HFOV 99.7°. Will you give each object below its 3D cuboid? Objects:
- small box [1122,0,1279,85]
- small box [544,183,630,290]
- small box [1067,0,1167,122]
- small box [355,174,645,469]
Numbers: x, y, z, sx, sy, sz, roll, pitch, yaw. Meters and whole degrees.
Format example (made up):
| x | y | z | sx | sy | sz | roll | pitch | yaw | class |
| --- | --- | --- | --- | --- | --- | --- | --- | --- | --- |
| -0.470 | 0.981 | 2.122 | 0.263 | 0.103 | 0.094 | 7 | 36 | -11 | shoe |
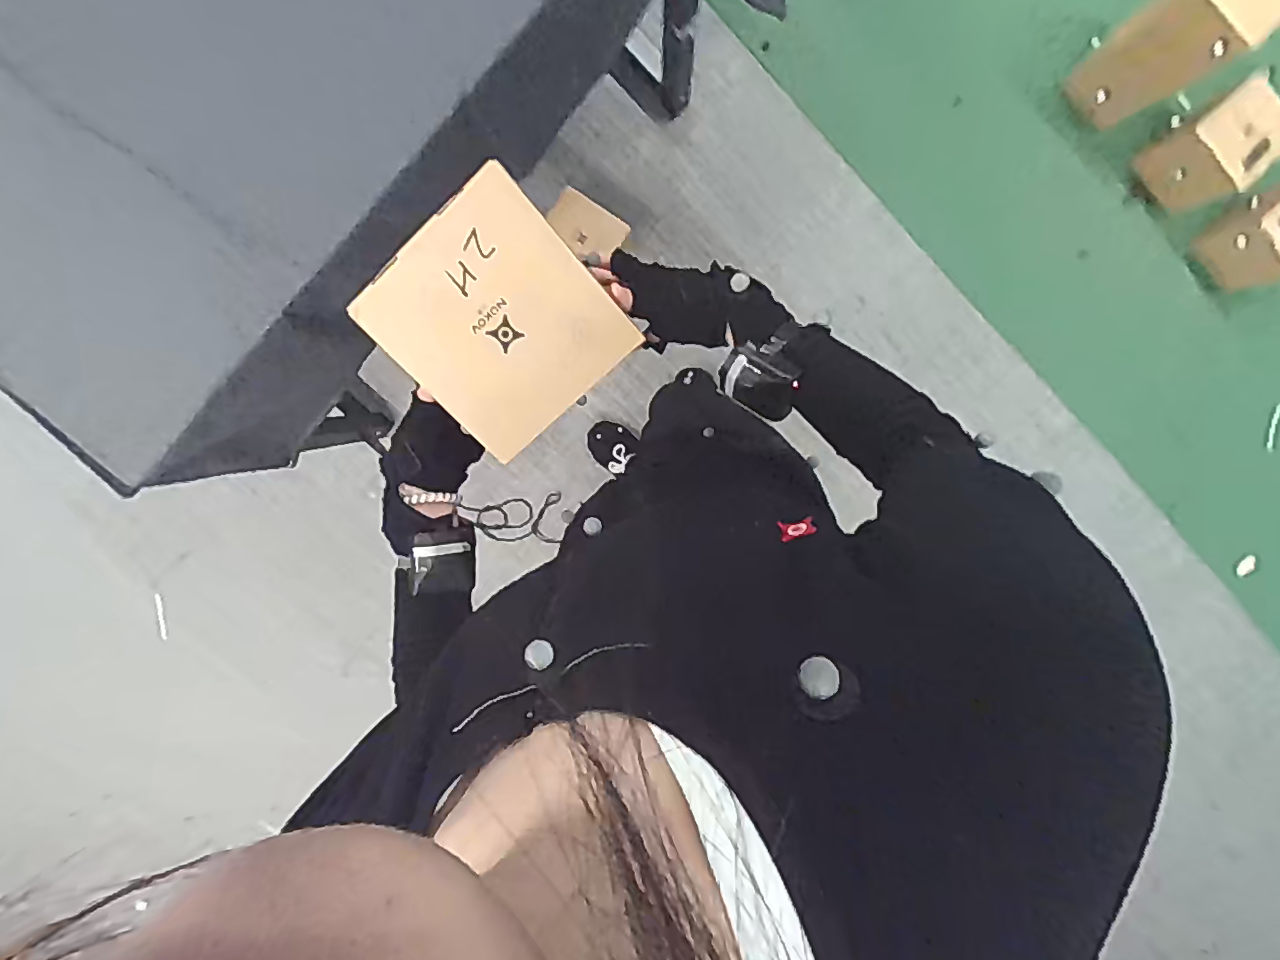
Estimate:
| x | y | z | sx | sy | sz | roll | pitch | yaw | class |
| --- | --- | --- | --- | --- | --- | --- | --- | --- | --- |
| 1.110 | -0.926 | 1.047 | 0.179 | 0.176 | 0.168 | 42 | 98 | -5 | small box |
| -0.139 | -0.567 | 1.305 | 0.179 | 0.176 | 0.168 | 32 | 99 | -3 | small box |
| 1.111 | -0.955 | 1.208 | 0.168 | 0.176 | 0.179 | 43 | 99 | -5 | small box |
| -0.114 | -0.145 | 0.511 | 0.168 | 0.176 | 0.179 | -39 | 107 | 10 | small box |
